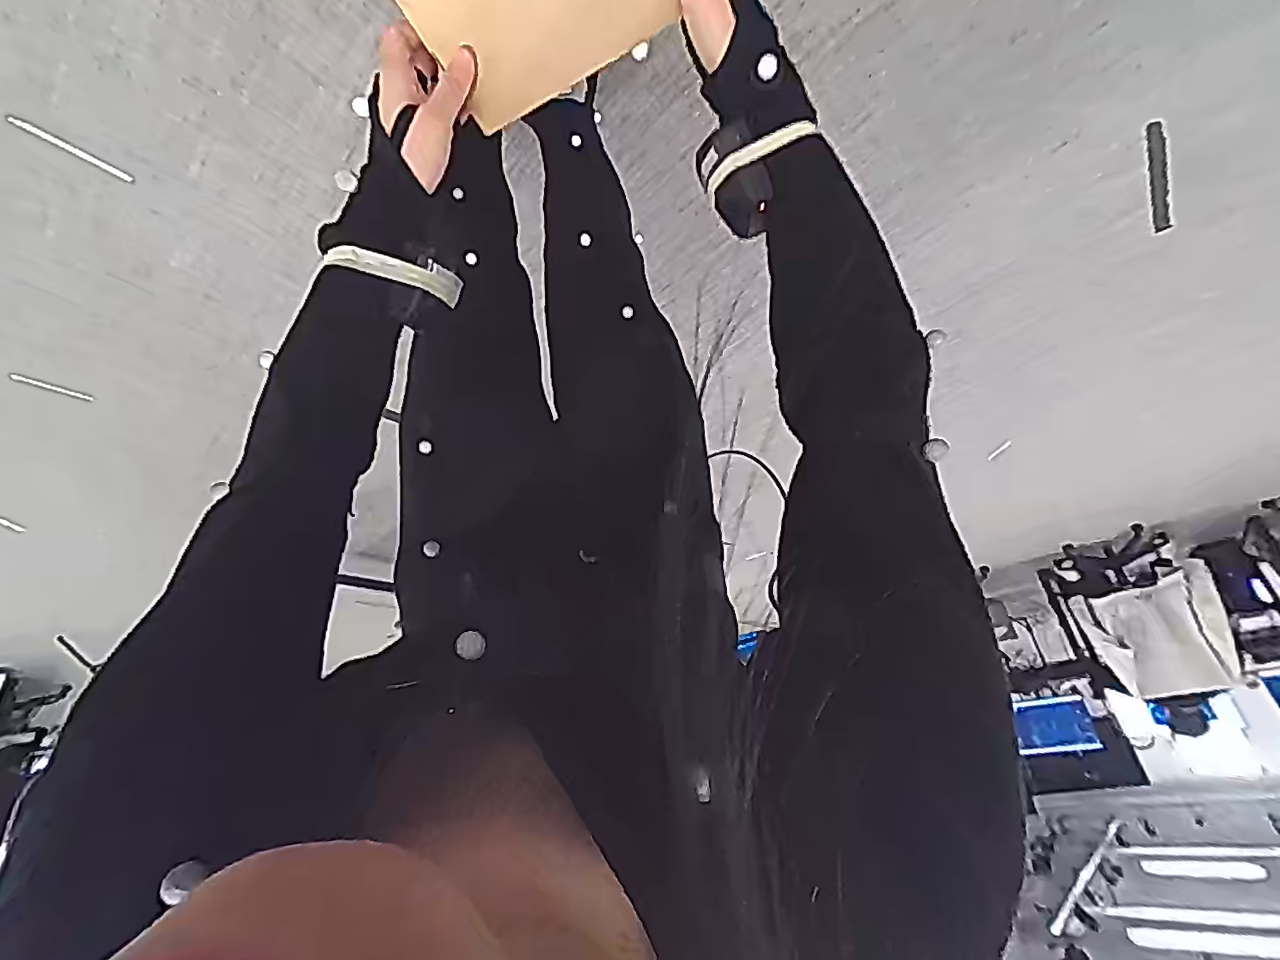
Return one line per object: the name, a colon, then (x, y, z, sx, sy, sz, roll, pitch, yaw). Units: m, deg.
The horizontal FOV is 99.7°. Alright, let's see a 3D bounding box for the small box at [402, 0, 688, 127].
small box: (-0.077, -0.405, 0.382, 0.179, 0.176, 0.168, -14, 141, 24)
